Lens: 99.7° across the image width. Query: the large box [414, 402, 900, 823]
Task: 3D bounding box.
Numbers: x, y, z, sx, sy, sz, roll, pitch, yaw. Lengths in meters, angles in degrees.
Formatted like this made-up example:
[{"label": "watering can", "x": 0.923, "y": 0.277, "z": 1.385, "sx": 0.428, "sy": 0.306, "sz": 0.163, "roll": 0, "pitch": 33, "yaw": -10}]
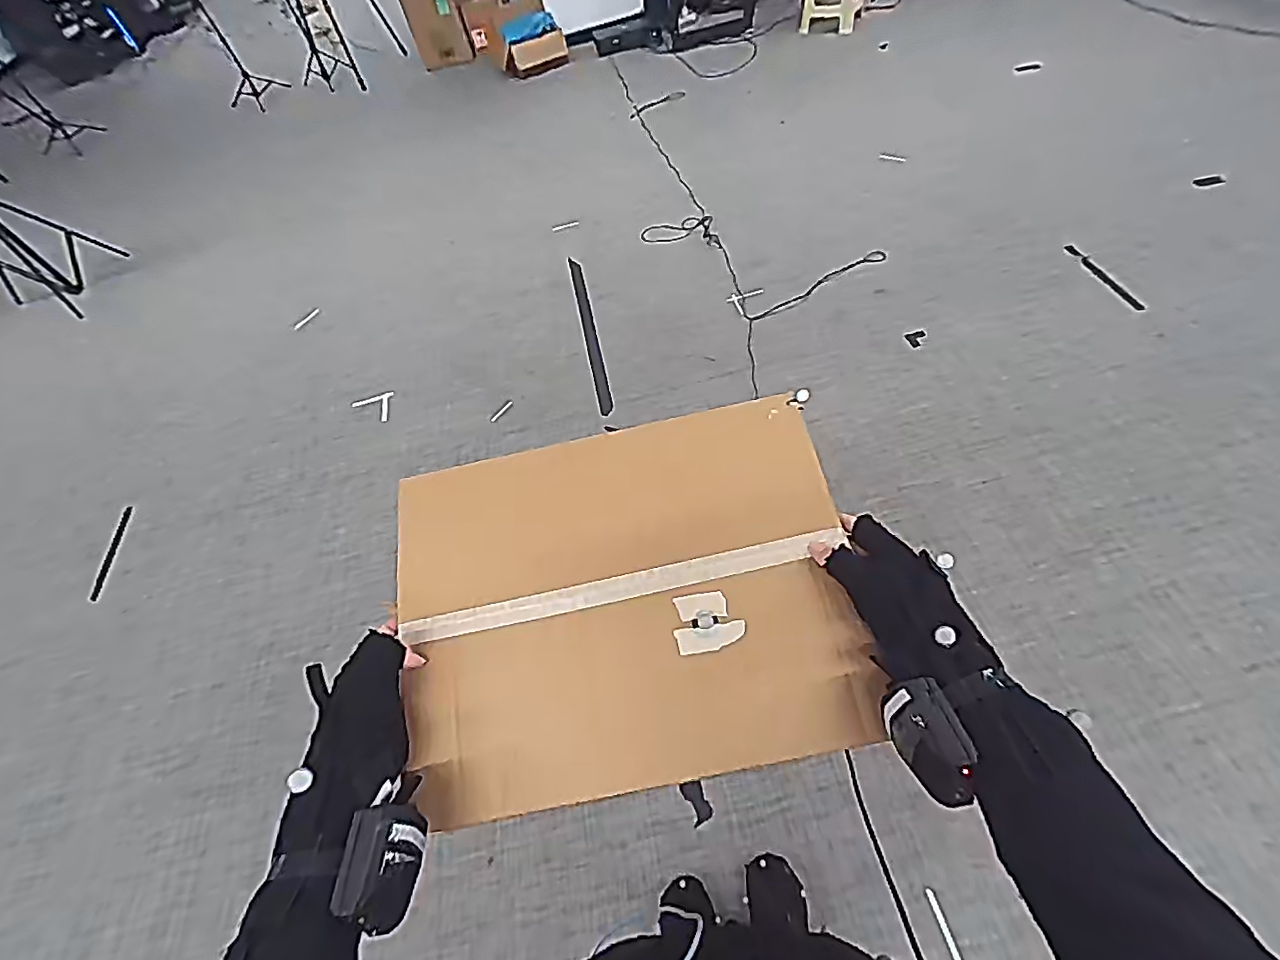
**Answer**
[{"label": "large box", "x": 0.002, "y": 0.158, "z": 0.629, "sx": 0.408, "sy": 0.320, "sz": 0.320, "roll": -12, "pitch": 66, "yaw": 1}]
